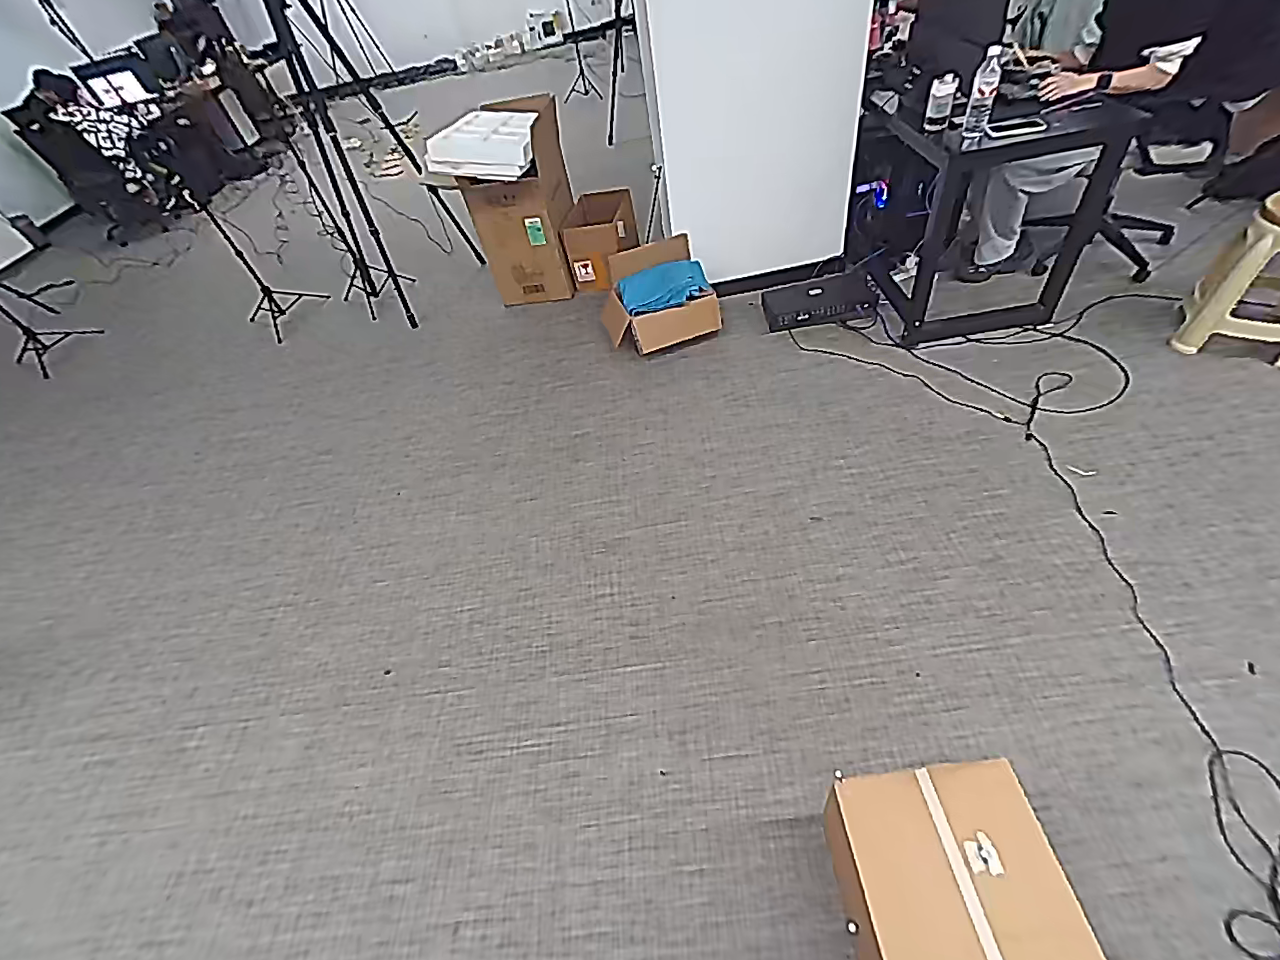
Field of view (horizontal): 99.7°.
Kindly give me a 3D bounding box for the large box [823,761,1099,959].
[{"bbox_3d":[0.548,0.783,0.968,0.320,0.320,0.408,-9,46,4],"label":"large box"}]
